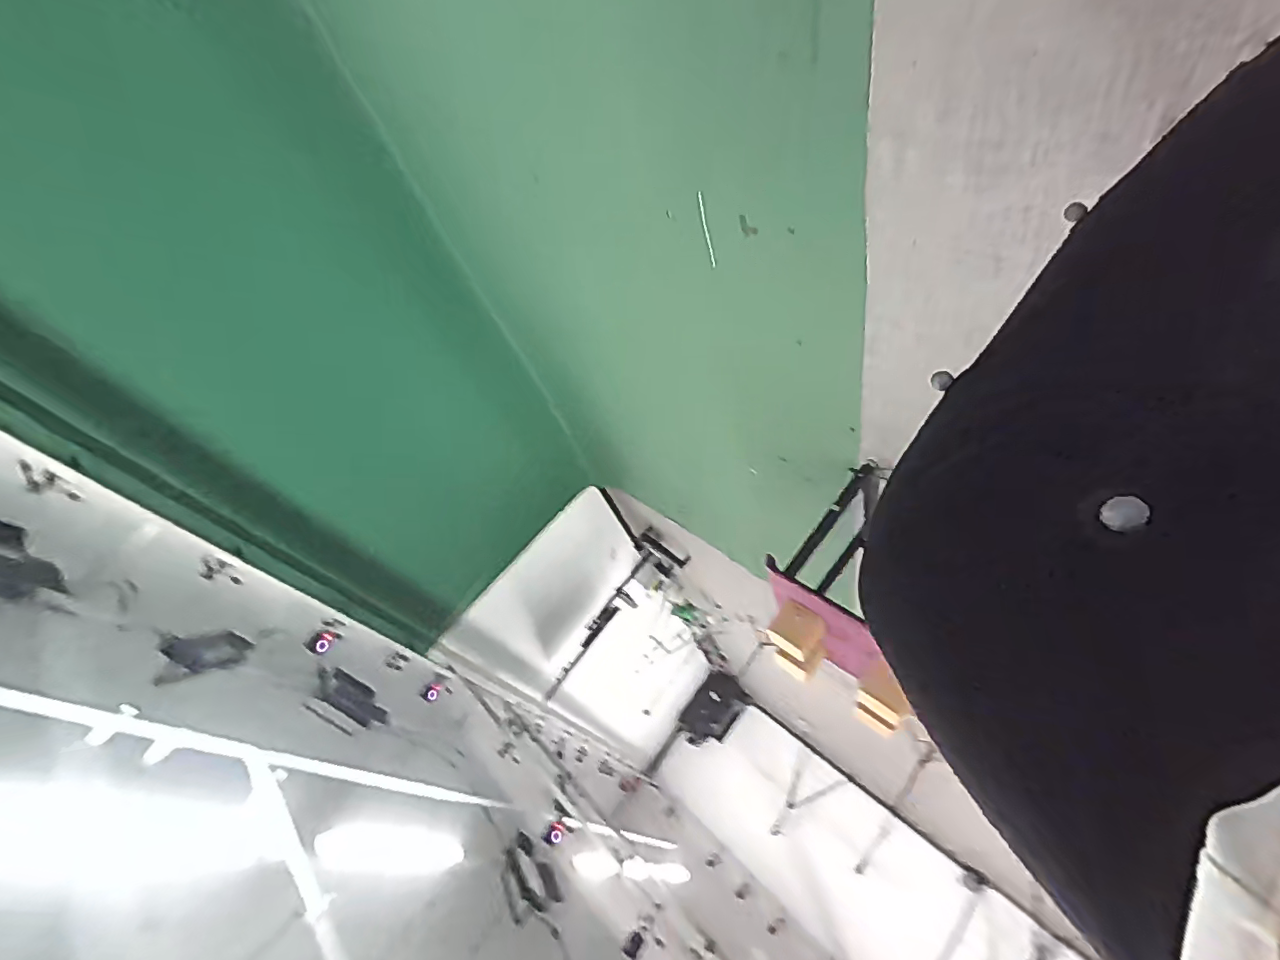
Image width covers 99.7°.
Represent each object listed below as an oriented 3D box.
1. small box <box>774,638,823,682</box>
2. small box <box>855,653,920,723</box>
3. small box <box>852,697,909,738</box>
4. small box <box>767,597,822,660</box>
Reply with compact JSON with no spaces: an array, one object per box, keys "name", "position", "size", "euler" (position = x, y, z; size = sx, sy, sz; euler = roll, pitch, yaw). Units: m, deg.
[{"name":"small box","position":[0.757,0.819,2.567],"size":[0.168,0.176,0.179],"euler":[29,157,34]},{"name":"small box","position":[0.953,0.800,2.086],"size":[0.168,0.176,0.179],"euler":[32,161,34]},{"name":"small box","position":[1.033,0.969,2.322],"size":[0.168,0.176,0.179],"euler":[31,158,34]},{"name":"small box","position":[0.667,0.635,2.319],"size":[0.168,0.176,0.179],"euler":[30,160,33]}]
